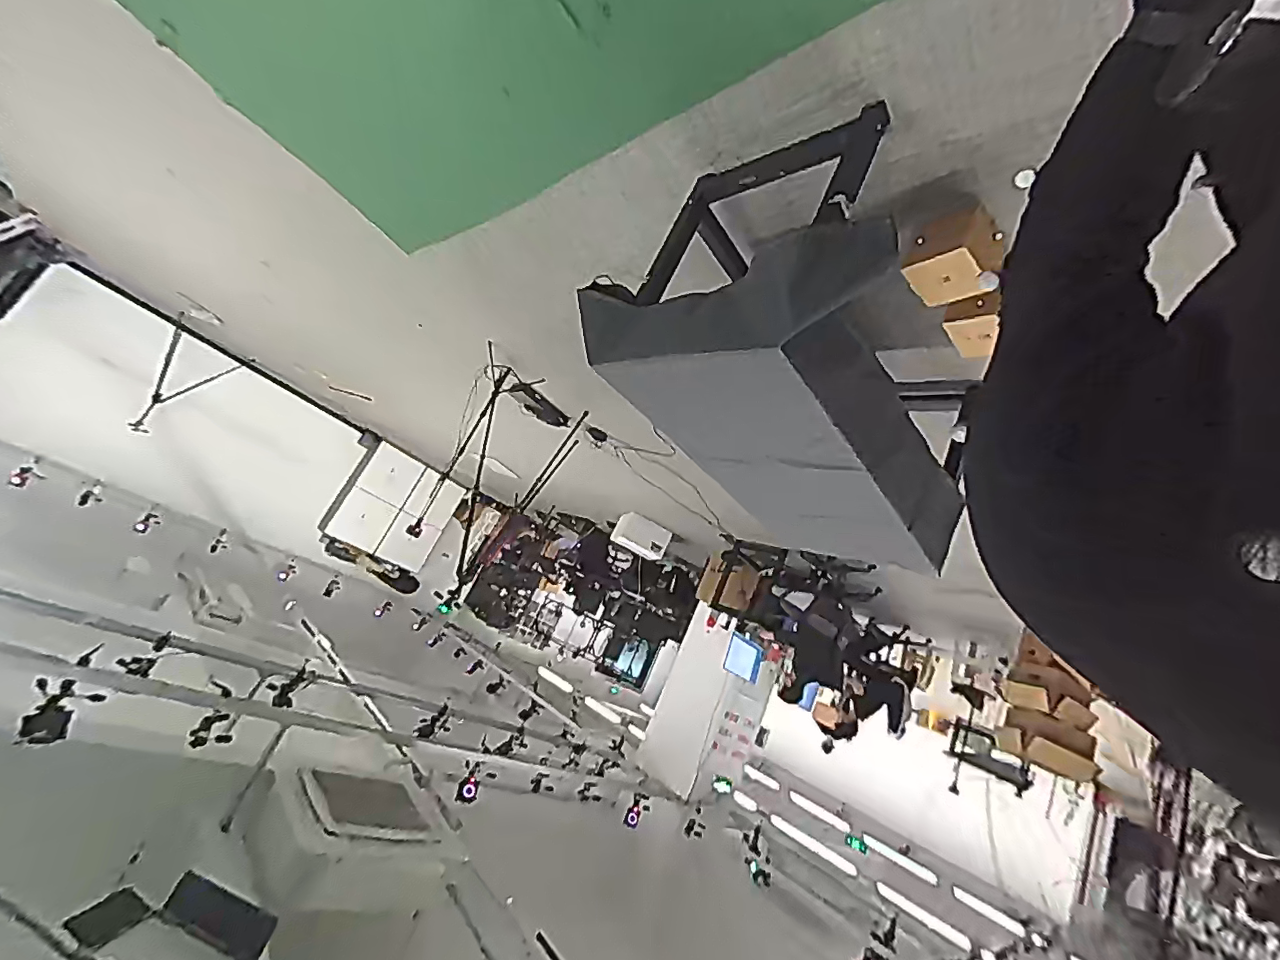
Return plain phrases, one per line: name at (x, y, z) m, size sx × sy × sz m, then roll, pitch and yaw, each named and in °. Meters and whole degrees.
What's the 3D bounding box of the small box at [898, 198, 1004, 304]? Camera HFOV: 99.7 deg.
small box at (0.838, -0.611, 1.456) m, size 0.168 × 0.176 × 0.179 m, roll 33°, pitch 163°, yaw -28°
